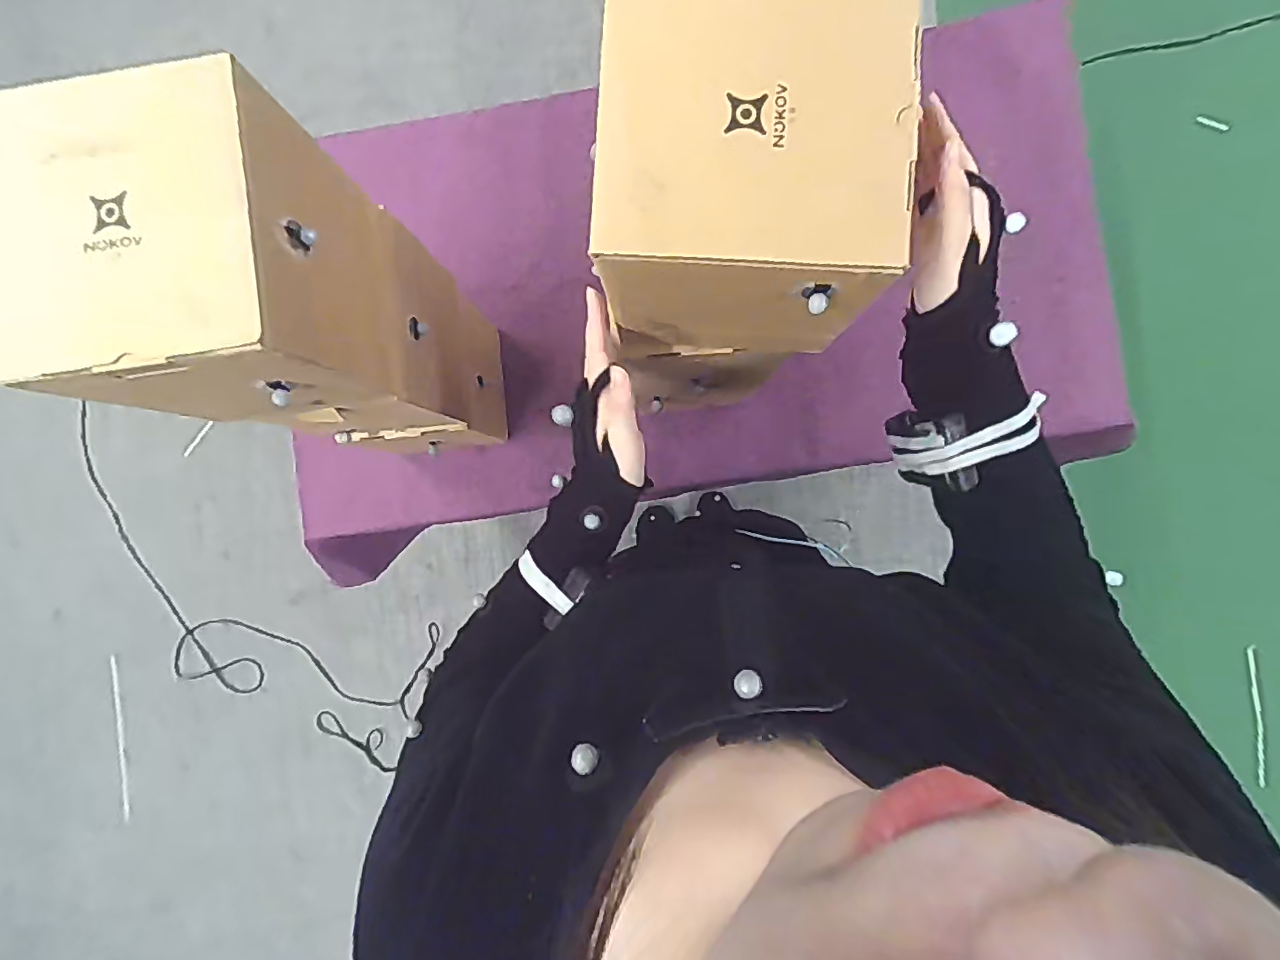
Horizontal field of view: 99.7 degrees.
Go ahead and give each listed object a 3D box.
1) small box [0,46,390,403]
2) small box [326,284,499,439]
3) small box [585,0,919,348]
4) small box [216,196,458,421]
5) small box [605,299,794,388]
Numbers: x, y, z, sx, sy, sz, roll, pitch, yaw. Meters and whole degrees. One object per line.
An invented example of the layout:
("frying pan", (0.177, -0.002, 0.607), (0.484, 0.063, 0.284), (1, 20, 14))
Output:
("small box", (-0.302, -0.154, 0.391), (0.168, 0.176, 0.179), (-6, 89, 1))
("small box", (-0.294, -0.147, 0.718), (0.168, 0.176, 0.179), (-4, 90, 1))
("small box", (0.064, -0.197, 0.378), (0.179, 0.176, 0.168), (4, 89, 1))
("small box", (-0.297, -0.156, 0.554), (0.168, 0.176, 0.179), (-4, 88, 2))
("small box", (0.052, -0.197, 0.542), (0.168, 0.176, 0.179), (-3, 90, 3))
